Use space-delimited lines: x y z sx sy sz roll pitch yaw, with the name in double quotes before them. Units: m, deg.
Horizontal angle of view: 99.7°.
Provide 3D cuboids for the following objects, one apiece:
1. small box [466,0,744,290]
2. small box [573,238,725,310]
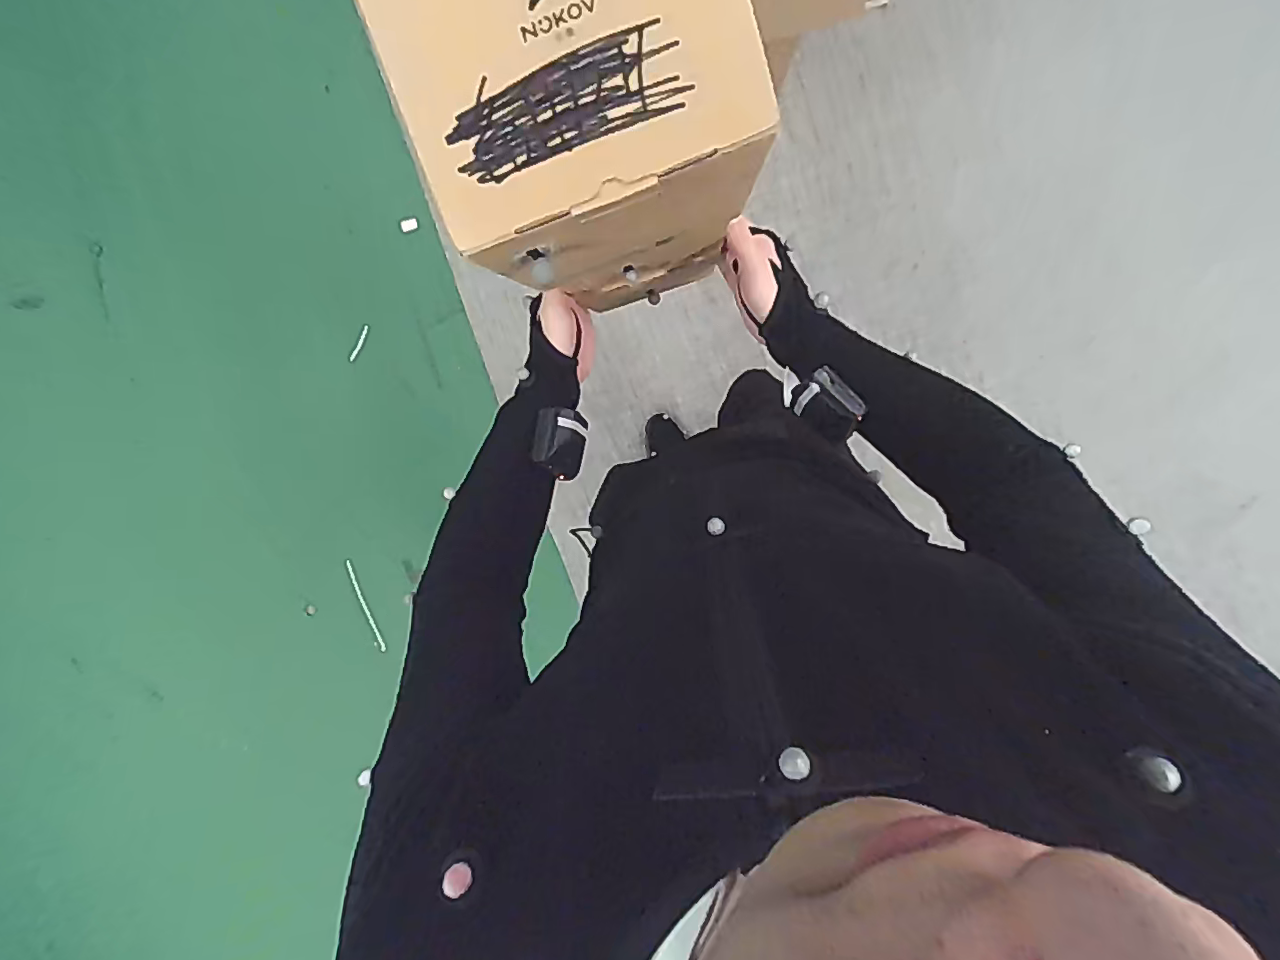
"small box" -0.020 -0.282 0.467 0.168 0.176 0.179 -16 102 7
"small box" -0.008 -0.312 0.626 0.168 0.176 0.179 -16 101 8
